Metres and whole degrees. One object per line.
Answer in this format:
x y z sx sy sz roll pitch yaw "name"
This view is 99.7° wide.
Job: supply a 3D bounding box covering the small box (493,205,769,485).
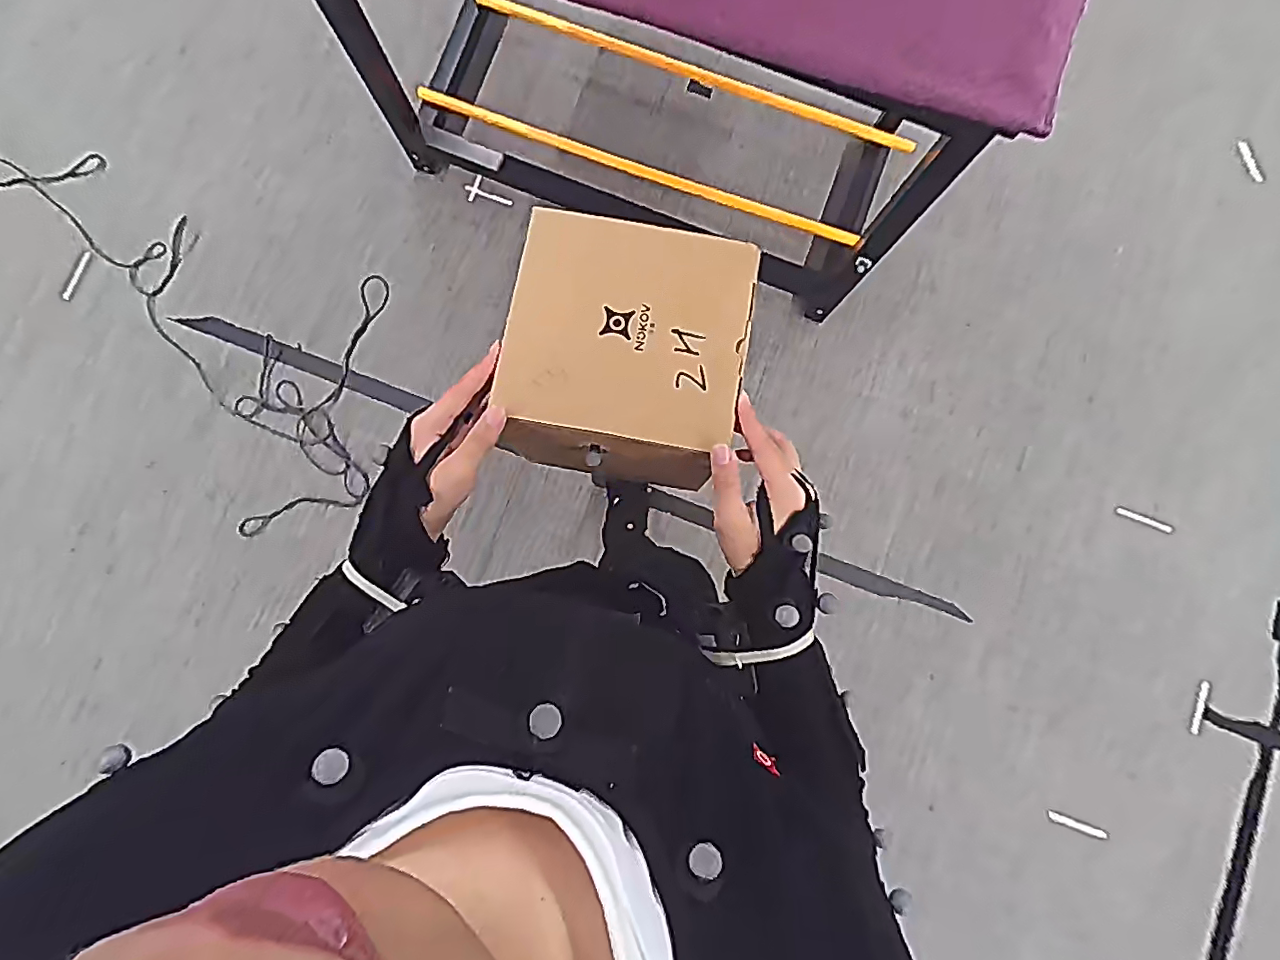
-0.006 -0.097 0.465 0.179 0.176 0.168 10 81 0 "small box"
